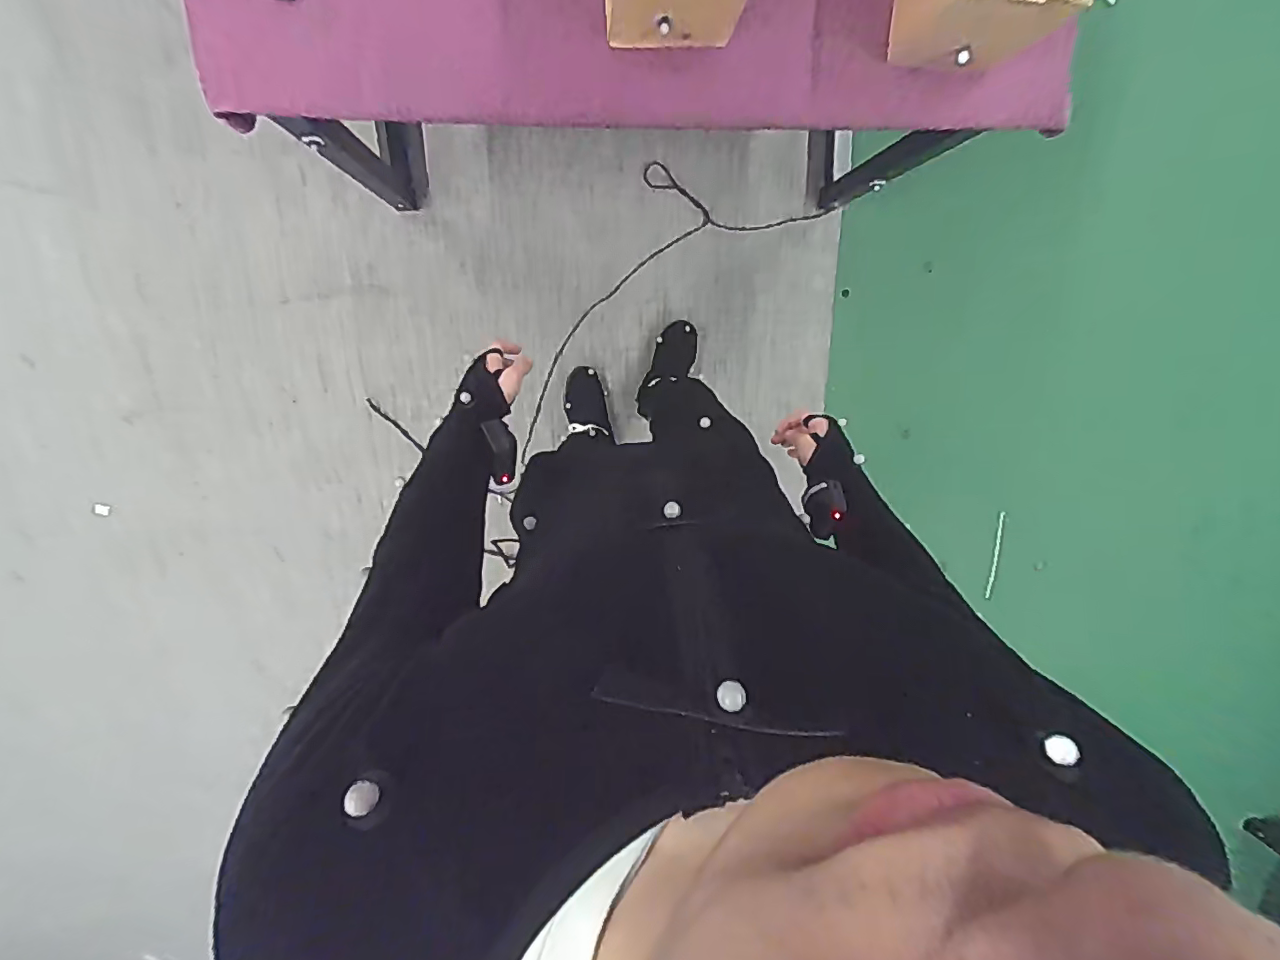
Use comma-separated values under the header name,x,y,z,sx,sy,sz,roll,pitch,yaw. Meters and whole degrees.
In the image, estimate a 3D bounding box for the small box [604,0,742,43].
name,x,y,z,sx,sy,sz,roll,pitch,yaw
small box,0.039,-0.657,0.630,0.168,0.176,0.179,-5,104,-5

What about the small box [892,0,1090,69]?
name,x,y,z,sx,sy,sz,roll,pitch,yaw
small box,0.438,-0.655,0.668,0.168,0.176,0.179,0,104,-5
